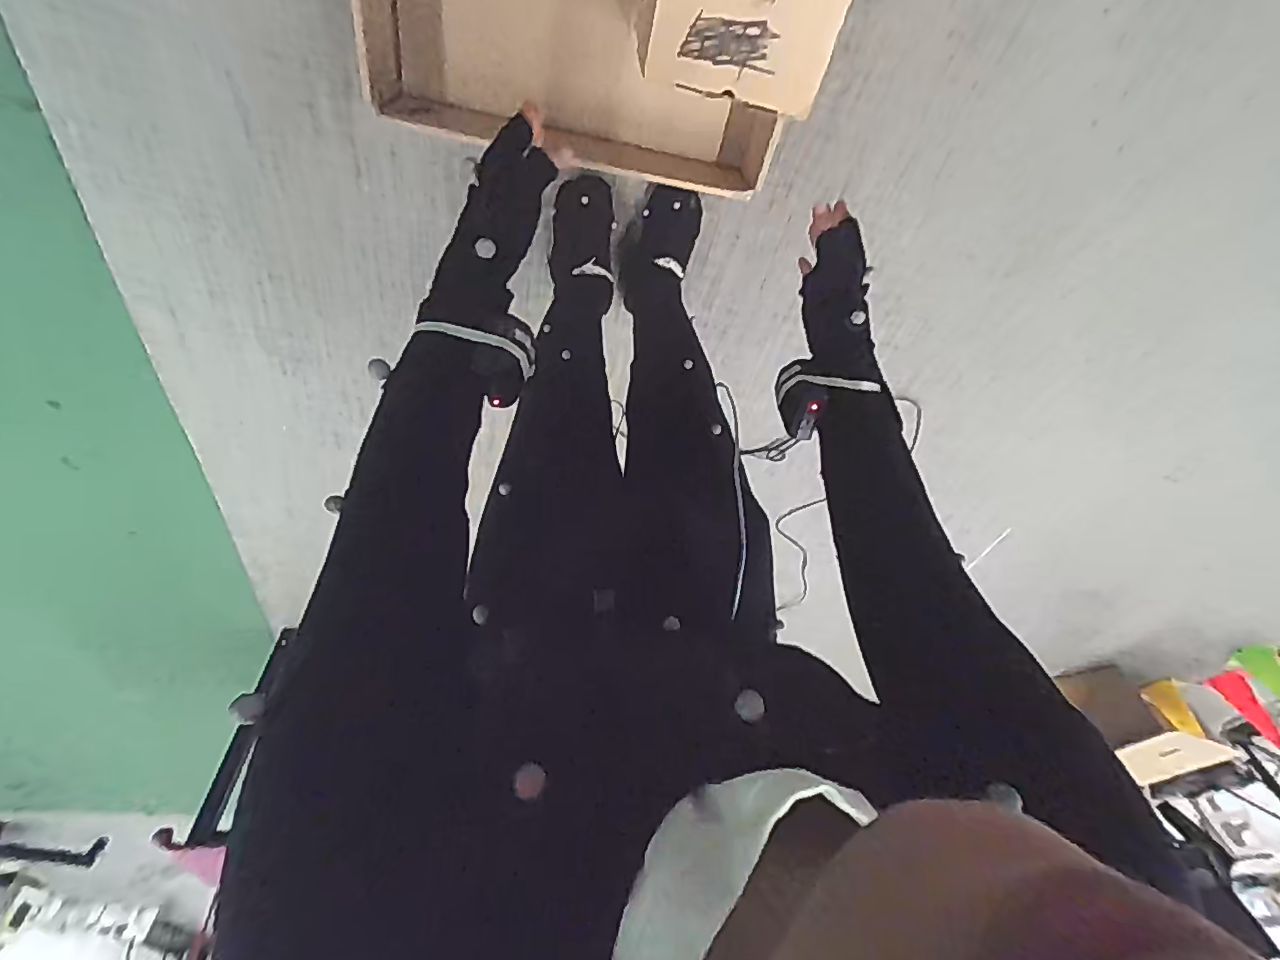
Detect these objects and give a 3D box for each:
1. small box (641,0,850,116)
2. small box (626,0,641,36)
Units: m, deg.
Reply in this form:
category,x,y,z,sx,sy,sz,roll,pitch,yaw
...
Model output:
category,x,y,z,sx,sy,sz,roll,pitch,yaw
small box,0.098,-0.478,0.506,0.168,0.176,0.179,7,133,-11
small box,0.074,-0.714,0.735,0.168,0.176,0.179,5,133,-6
